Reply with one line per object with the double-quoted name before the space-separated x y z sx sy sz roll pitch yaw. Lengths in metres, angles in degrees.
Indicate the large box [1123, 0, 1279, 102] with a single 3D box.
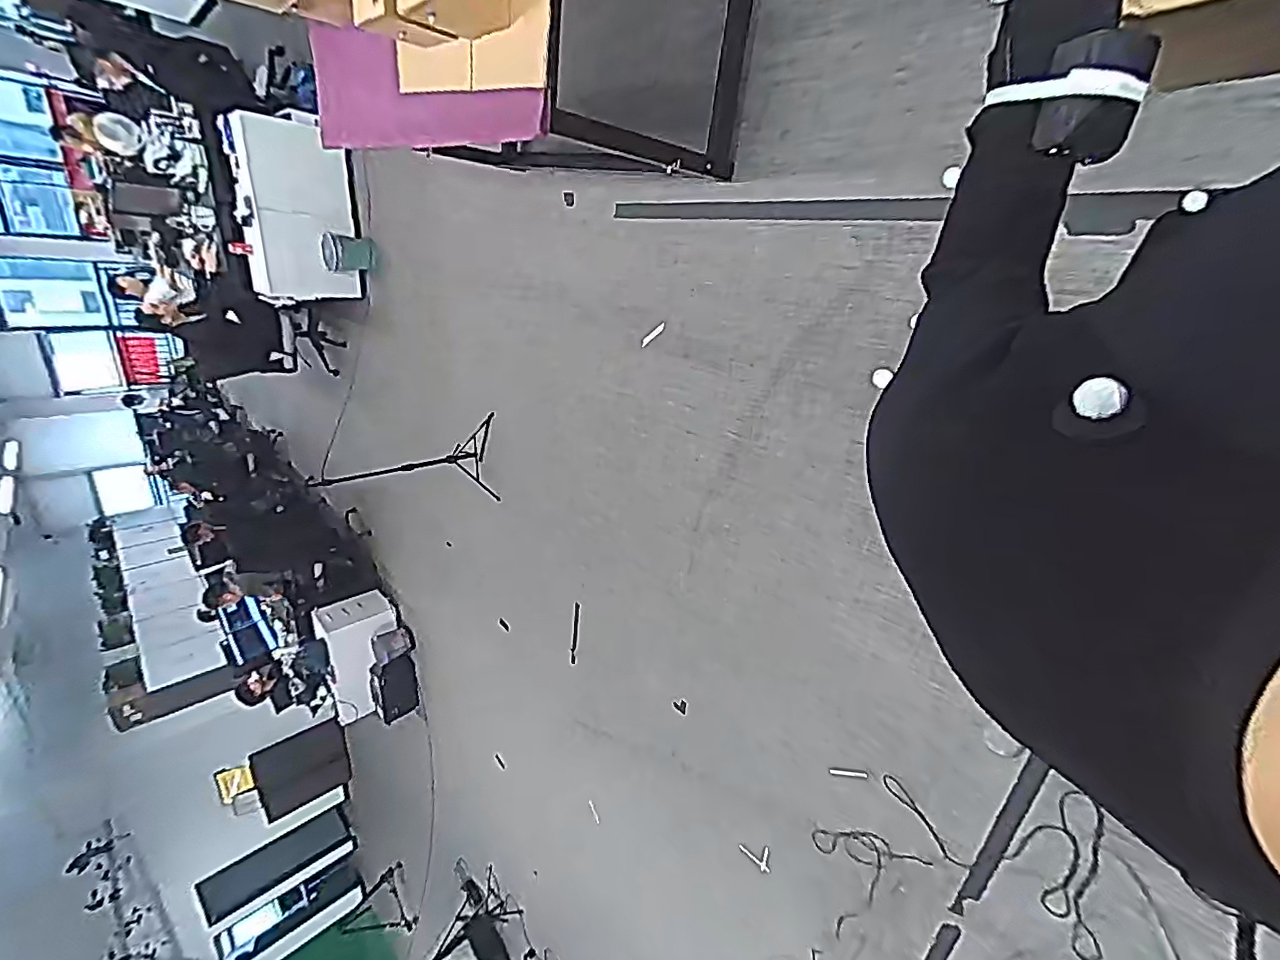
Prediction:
"large box" 0.549 -0.432 0.267 0.408 0.320 0.320 18 121 40
